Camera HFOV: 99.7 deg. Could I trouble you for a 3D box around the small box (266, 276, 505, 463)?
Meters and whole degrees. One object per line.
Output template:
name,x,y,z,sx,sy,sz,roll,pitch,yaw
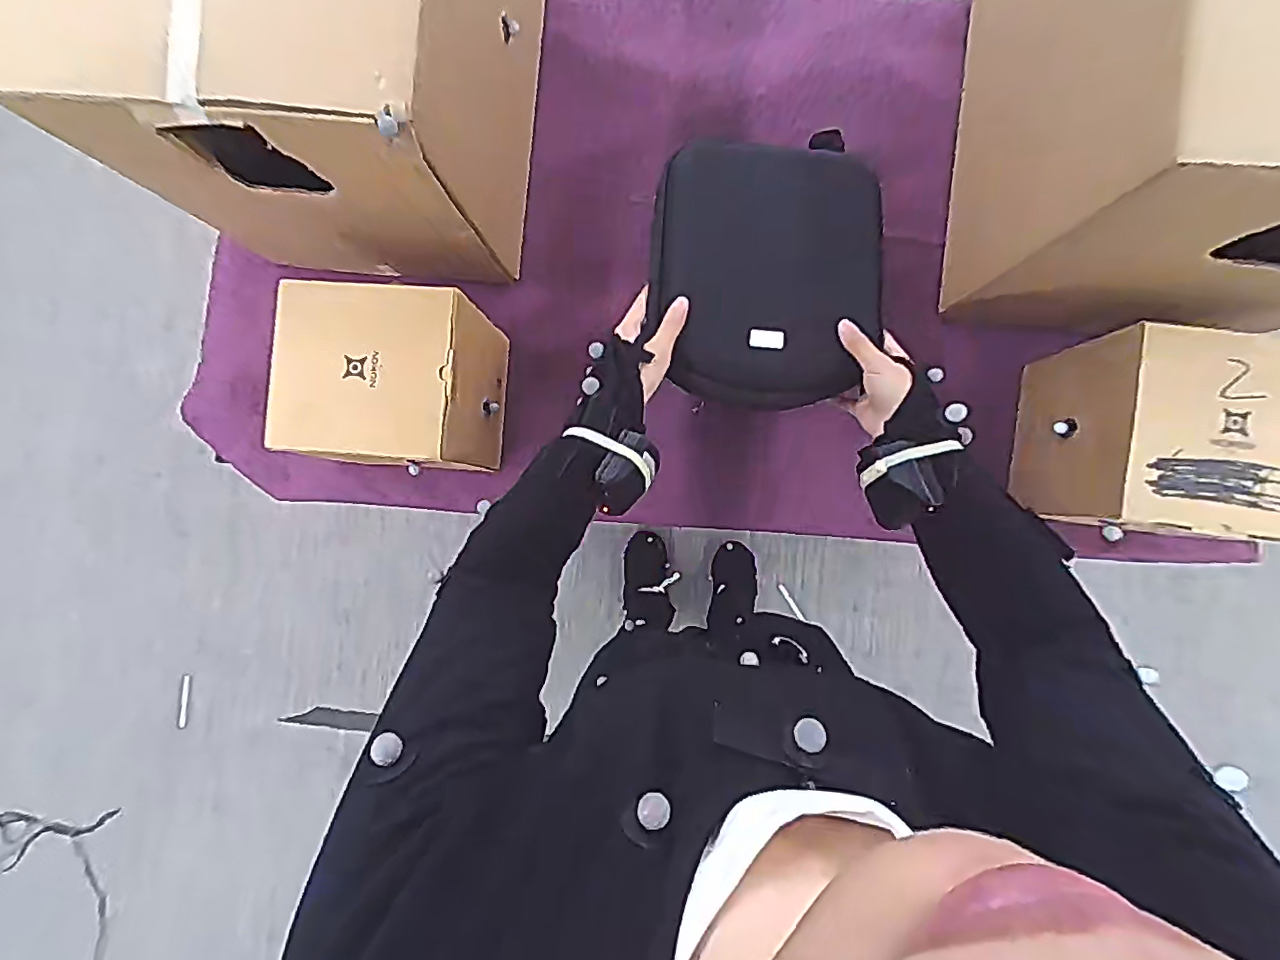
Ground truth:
small box,-0.266,-0.109,0.600,0.179,0.176,0.168,3,88,3

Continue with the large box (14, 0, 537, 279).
large box,-0.291,-0.459,0.536,0.320,0.320,0.408,5,92,2
